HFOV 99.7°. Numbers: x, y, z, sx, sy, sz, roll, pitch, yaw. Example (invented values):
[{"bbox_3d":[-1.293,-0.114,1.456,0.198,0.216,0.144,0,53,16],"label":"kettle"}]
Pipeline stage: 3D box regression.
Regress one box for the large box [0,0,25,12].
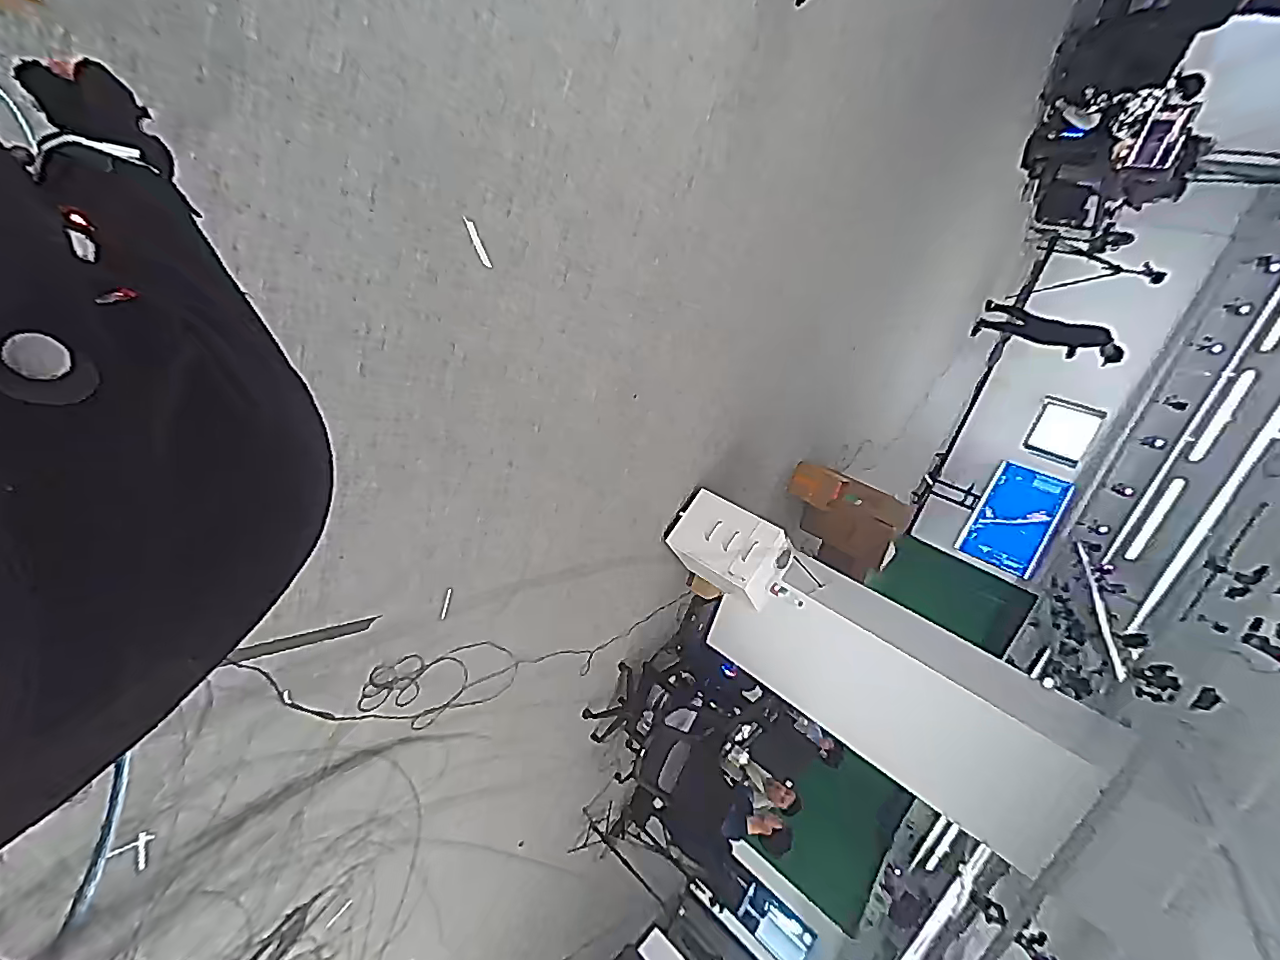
[{"bbox_3d":[-0.974,-0.801,0.576,0.408,0.320,0.320,-7,120,-53],"label":"large box"}]
